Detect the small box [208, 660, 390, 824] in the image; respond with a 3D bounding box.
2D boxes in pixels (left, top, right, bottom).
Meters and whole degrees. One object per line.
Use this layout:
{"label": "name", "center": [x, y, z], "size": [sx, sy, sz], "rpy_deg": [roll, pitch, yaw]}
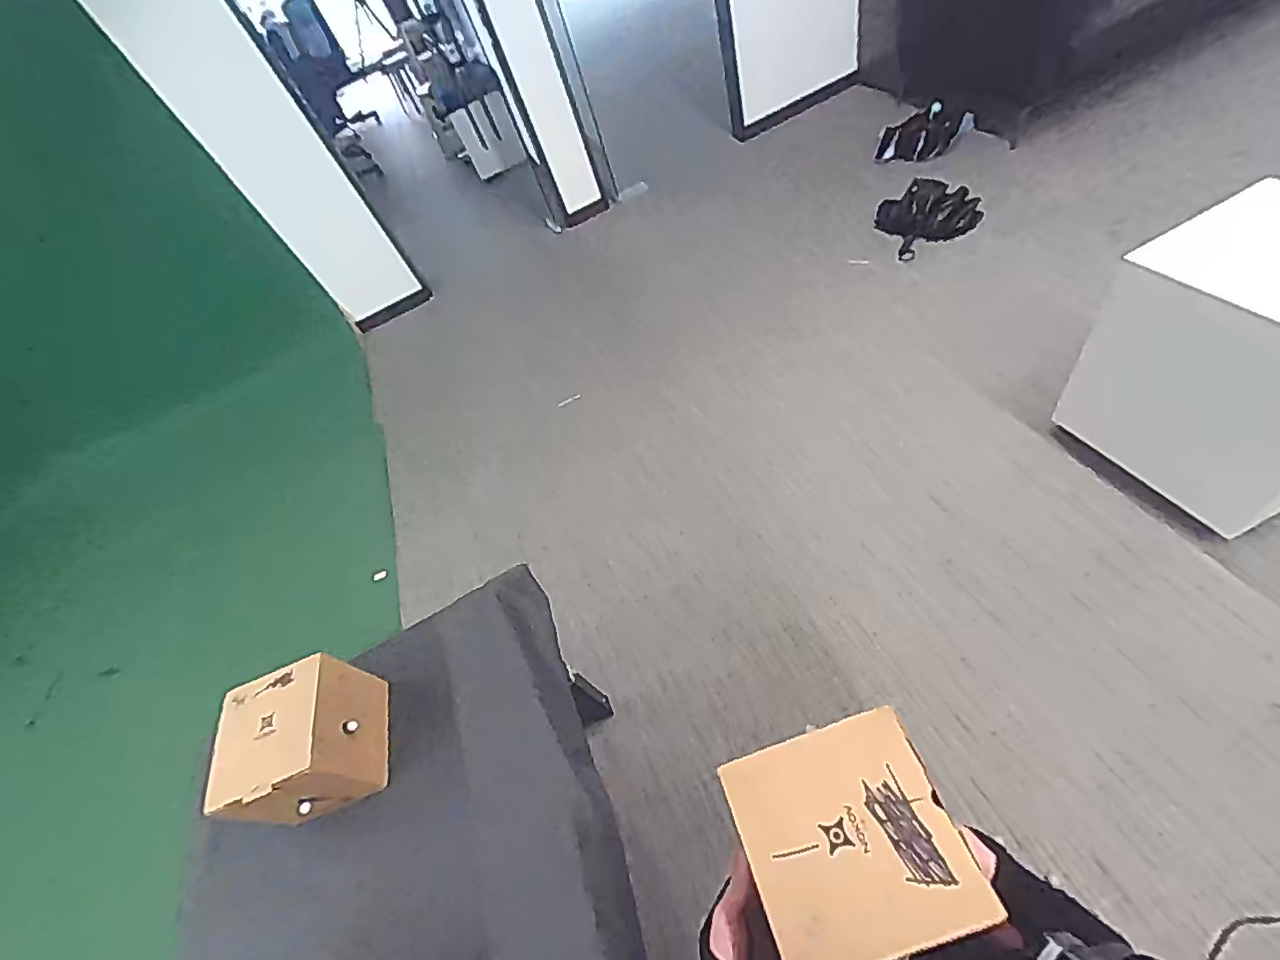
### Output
{"label": "small box", "center": [-0.511, 0.413, 0.840], "size": [0.168, 0.176, 0.179], "rpy_deg": [-23, 51, 1]}
